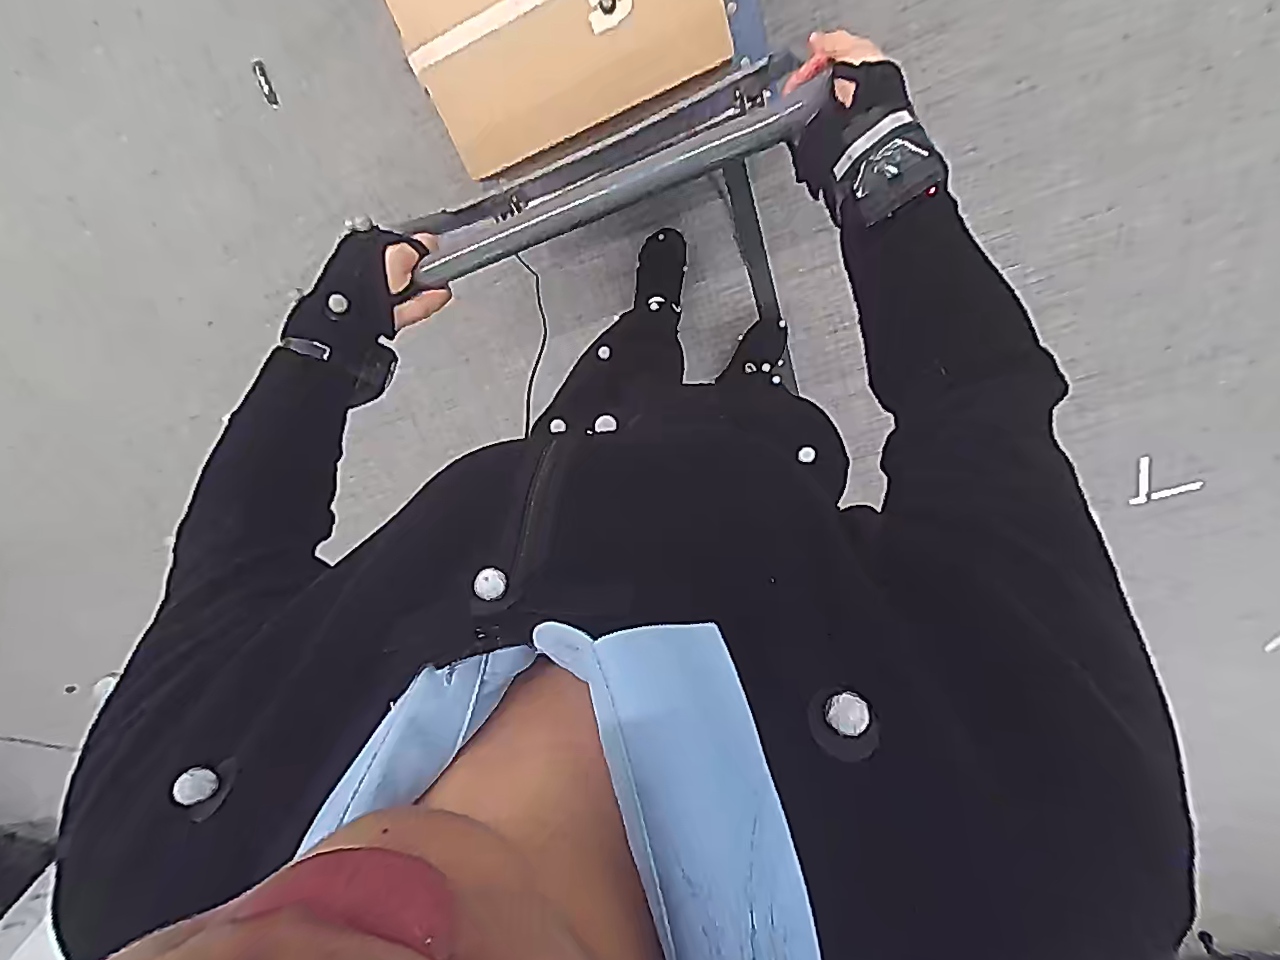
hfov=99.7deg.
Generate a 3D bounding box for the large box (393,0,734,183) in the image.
[{"bbox_3d":[-0.103,-0.696,0.821,0.408,0.320,0.320,-17,117,14],"label":"large box"}]
